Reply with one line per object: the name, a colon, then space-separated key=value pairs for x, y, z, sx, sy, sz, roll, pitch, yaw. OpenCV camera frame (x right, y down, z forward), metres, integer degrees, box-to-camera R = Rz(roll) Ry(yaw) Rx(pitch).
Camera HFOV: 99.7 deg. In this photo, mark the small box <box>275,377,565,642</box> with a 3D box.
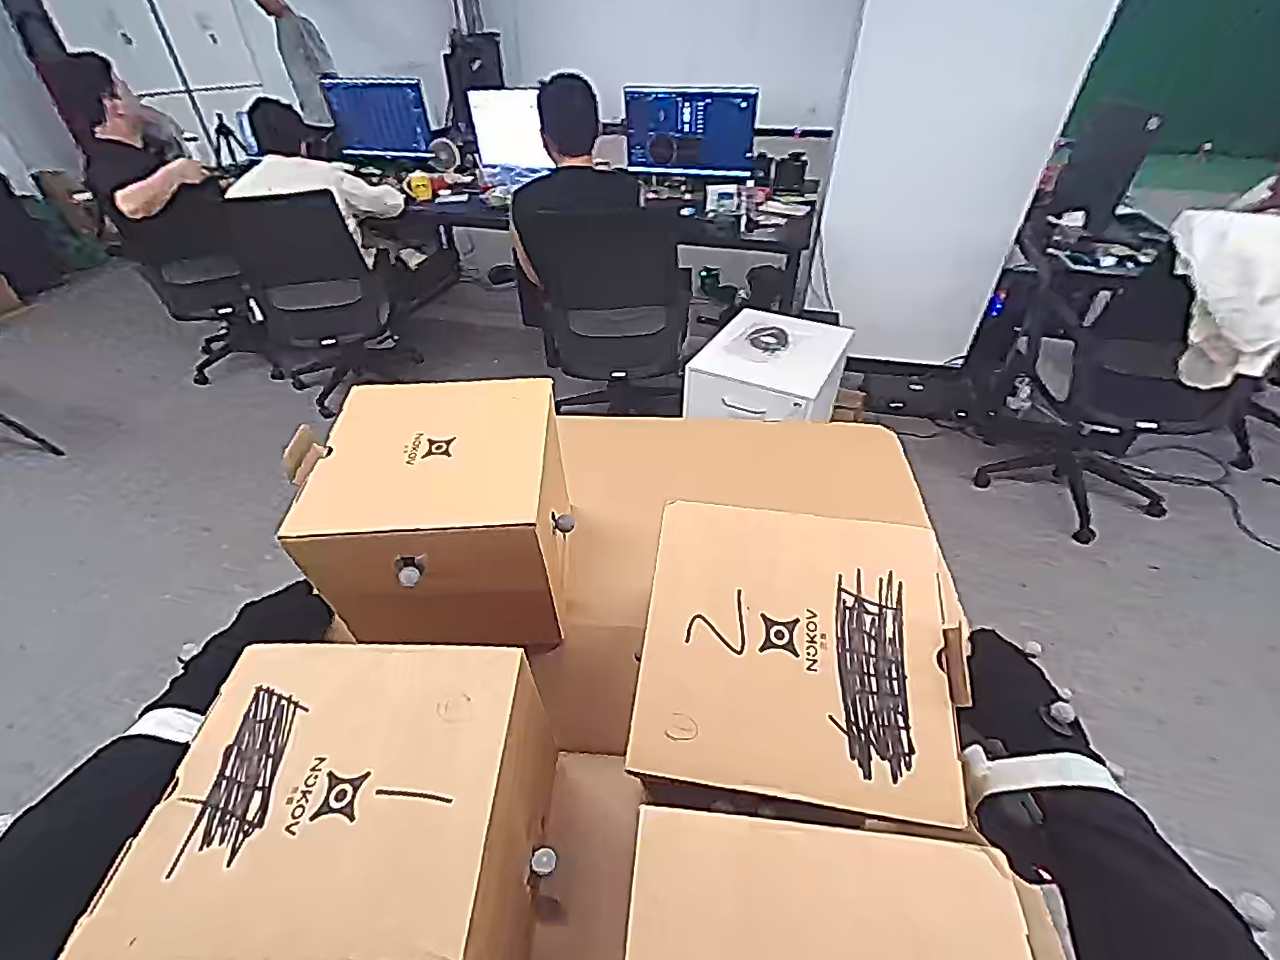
small box: x=-0.164 y=0.028 z=0.479 sx=0.179 sy=0.176 sz=0.168 roll=-3 pitch=46 yaw=-1
